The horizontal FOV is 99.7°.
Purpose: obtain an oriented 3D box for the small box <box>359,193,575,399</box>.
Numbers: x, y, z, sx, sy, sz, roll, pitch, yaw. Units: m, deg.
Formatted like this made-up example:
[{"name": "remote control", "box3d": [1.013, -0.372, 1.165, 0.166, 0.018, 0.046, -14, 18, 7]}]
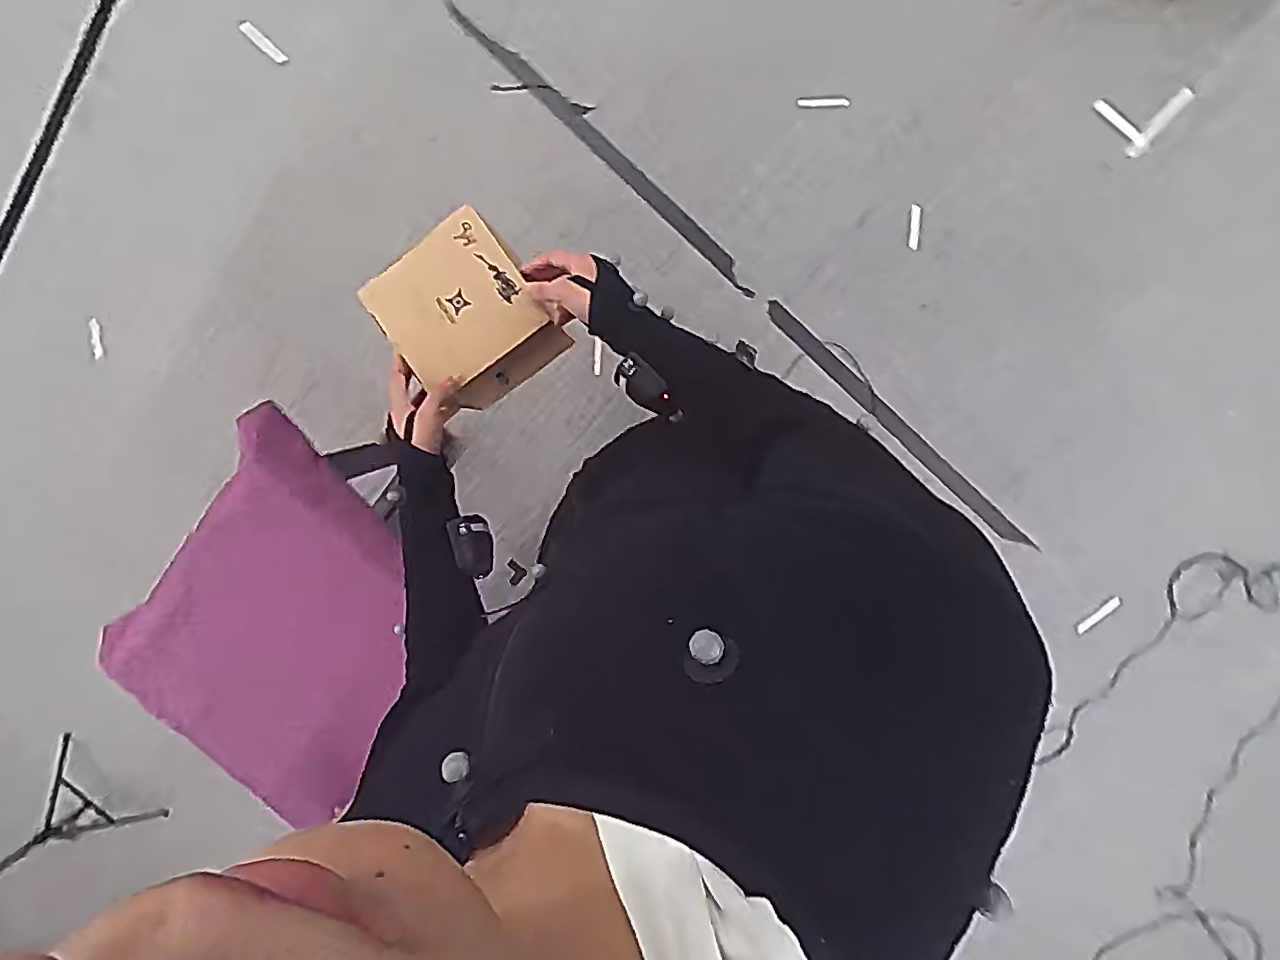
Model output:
[{"name": "small box", "box3d": [-0.206, -0.218, 0.699, 0.179, 0.176, 0.168, -34, 93, 7]}]
